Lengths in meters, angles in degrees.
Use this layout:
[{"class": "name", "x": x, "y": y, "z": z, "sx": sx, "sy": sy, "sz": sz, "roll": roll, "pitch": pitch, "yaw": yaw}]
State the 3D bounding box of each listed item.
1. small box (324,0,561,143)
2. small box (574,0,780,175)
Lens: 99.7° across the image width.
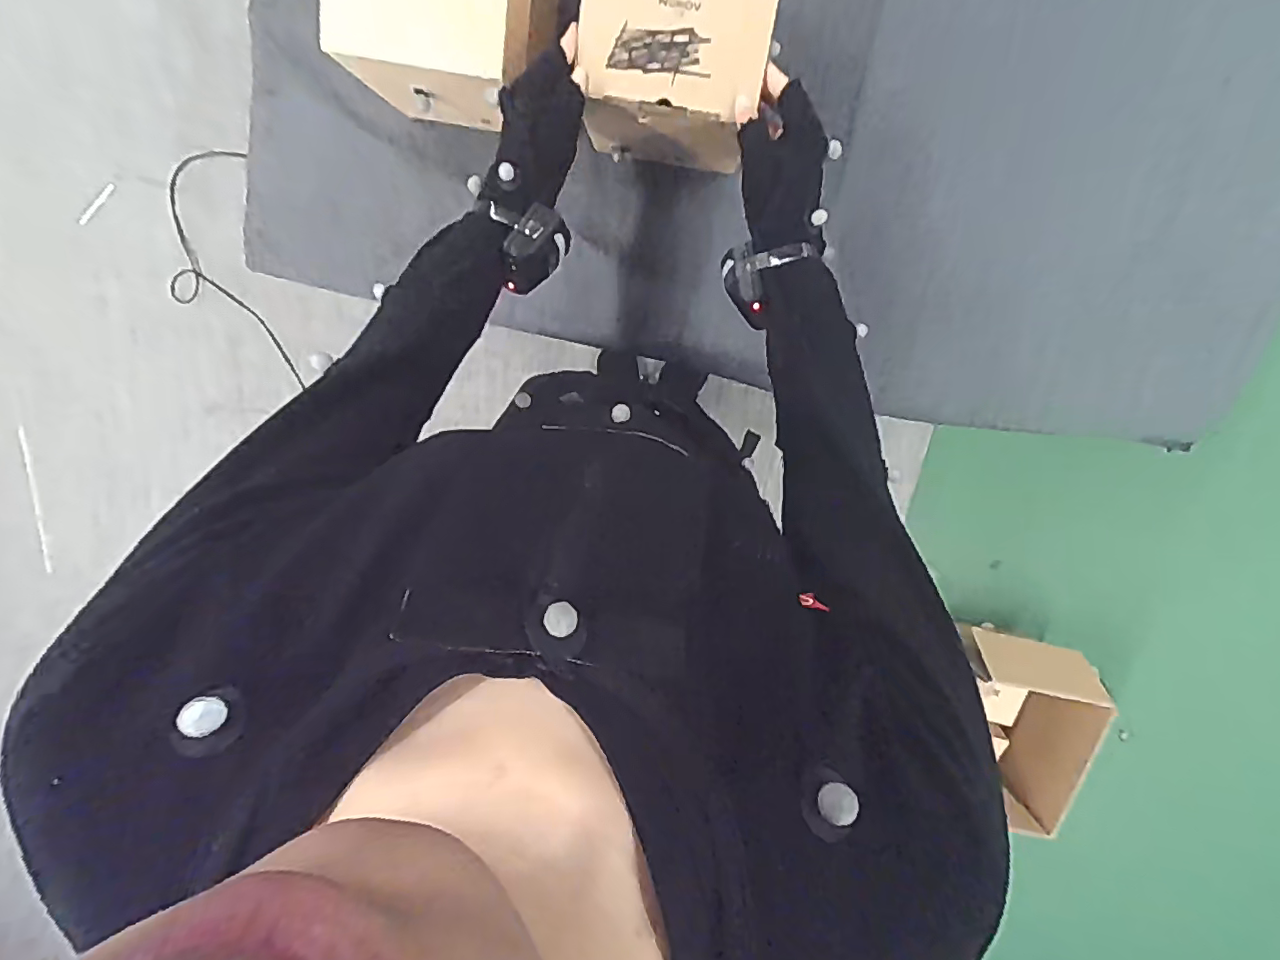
[{"class": "small box", "x": -0.180, "y": -0.461, "z": 0.532, "sx": 0.168, "sy": 0.176, "sz": 0.179, "roll": 10, "pitch": 105, "yaw": 0}, {"class": "small box", "x": 0.040, "y": -0.423, "z": 0.529, "sx": 0.168, "sy": 0.176, "sz": 0.179, "roll": 10, "pitch": 105, "yaw": 0}]
